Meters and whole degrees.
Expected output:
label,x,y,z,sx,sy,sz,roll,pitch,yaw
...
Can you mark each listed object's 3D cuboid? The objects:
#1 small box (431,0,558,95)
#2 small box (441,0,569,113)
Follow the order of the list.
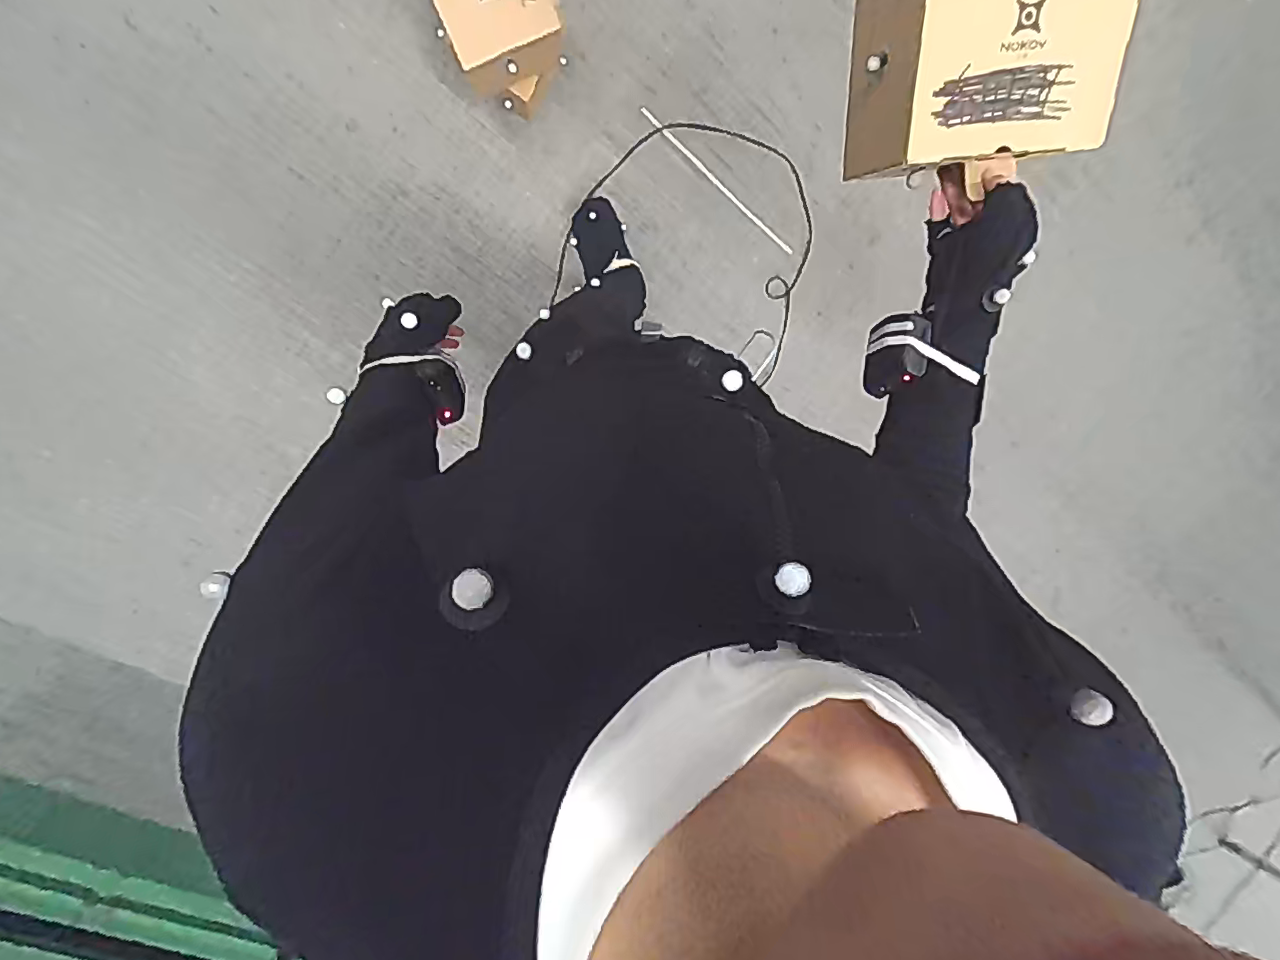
label,x,y,z,sx,sy,sz,roll,pitch,yaw
small box,-0.248,-0.792,0.914,0.179,0.176,0.168,-23,113,1
small box,-0.253,-0.854,1.049,0.179,0.176,0.168,30,104,-17
